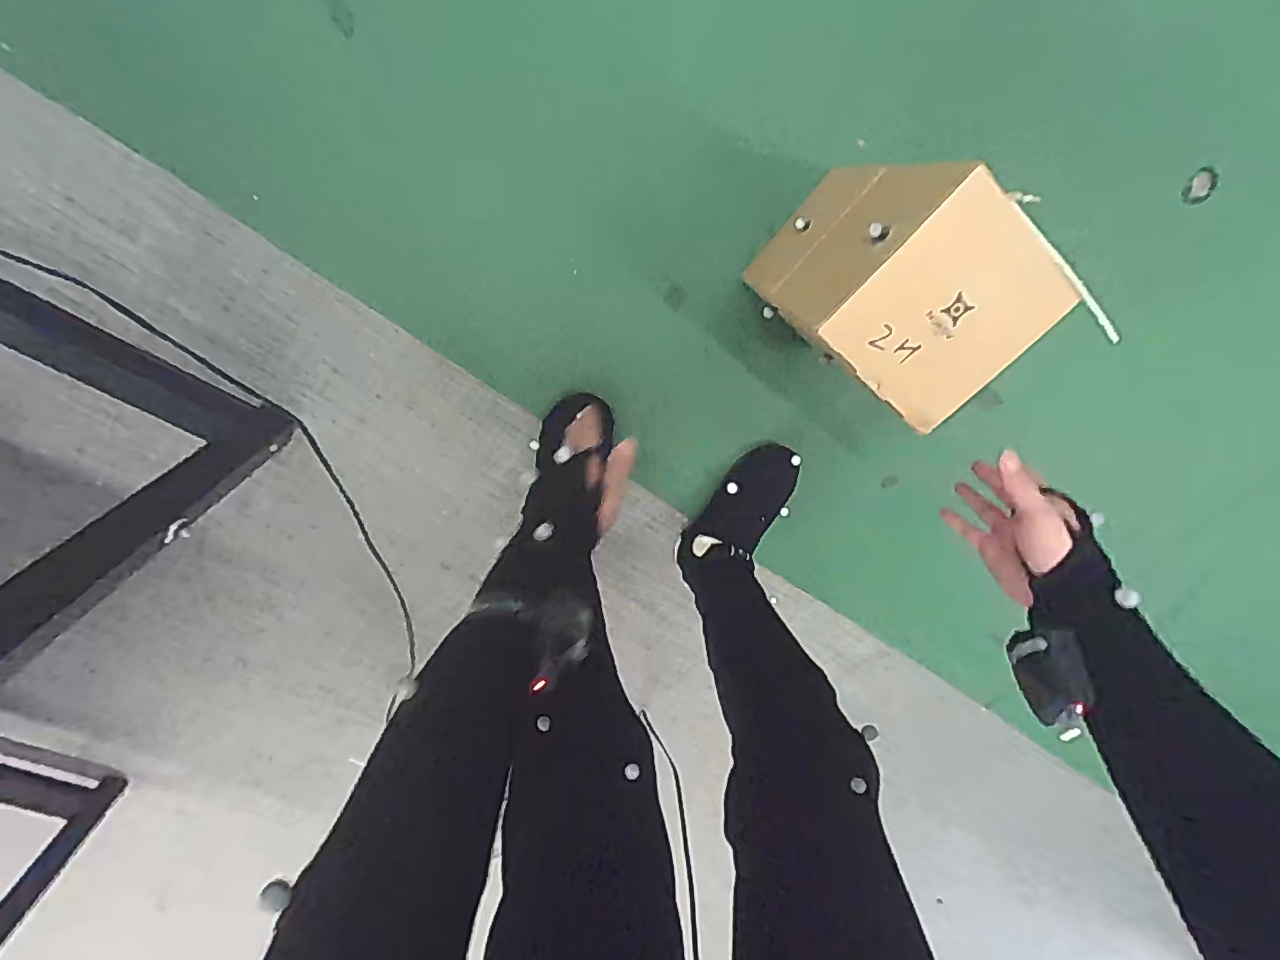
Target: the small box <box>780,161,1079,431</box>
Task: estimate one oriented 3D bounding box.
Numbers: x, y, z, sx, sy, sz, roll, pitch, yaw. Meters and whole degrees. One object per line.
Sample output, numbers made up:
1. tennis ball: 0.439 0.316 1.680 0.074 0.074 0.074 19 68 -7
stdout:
1. small box: 0.272 -0.189 0.550 0.168 0.176 0.179 36 112 -20
